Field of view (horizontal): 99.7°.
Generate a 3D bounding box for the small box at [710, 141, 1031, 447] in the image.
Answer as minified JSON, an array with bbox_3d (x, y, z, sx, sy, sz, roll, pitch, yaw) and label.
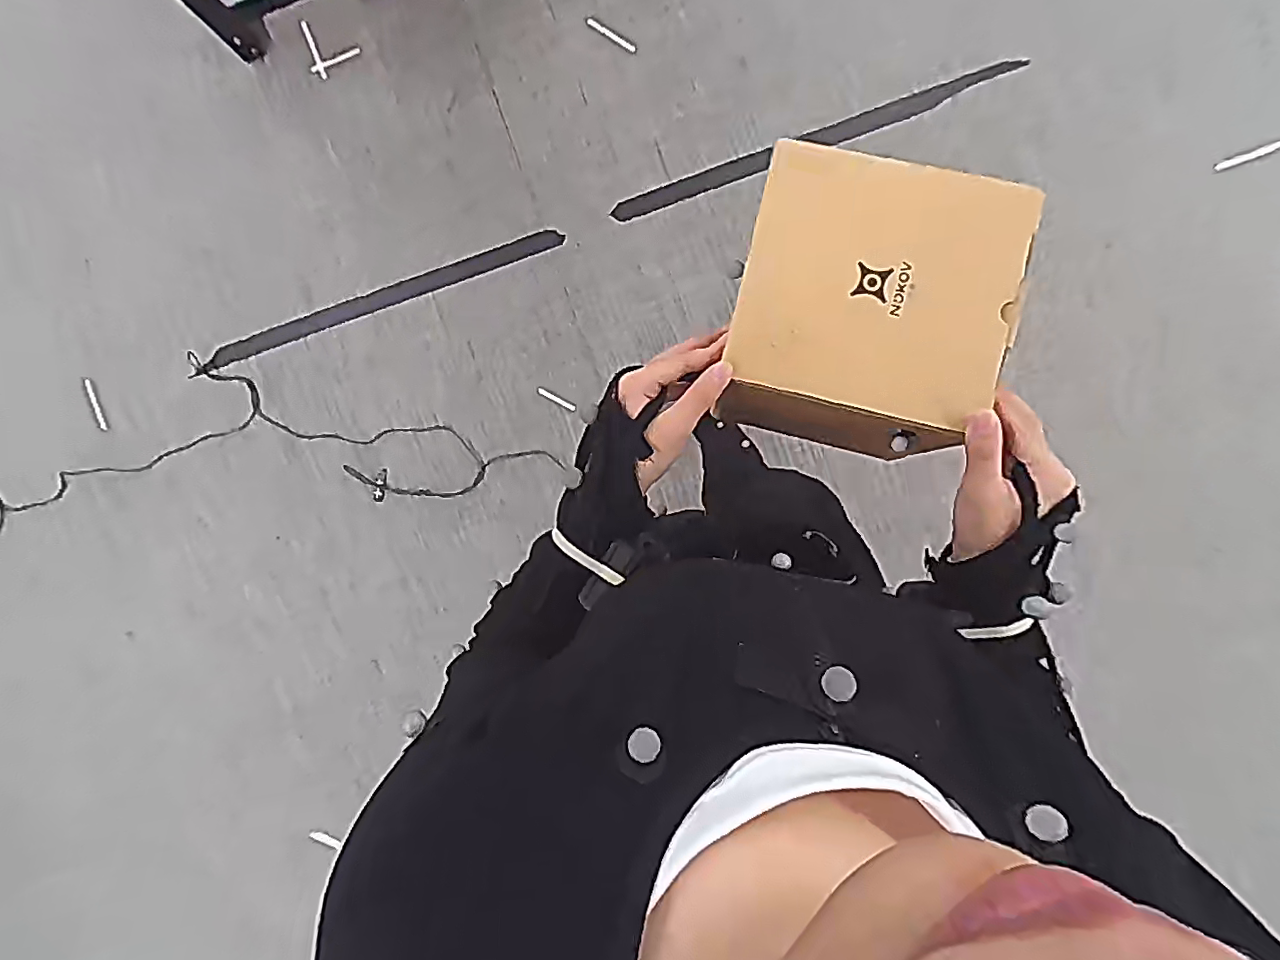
[{"bbox_3d":[0.158,-0.128,0.435,0.179,0.176,0.168,14,89,5],"label":"small box"}]
